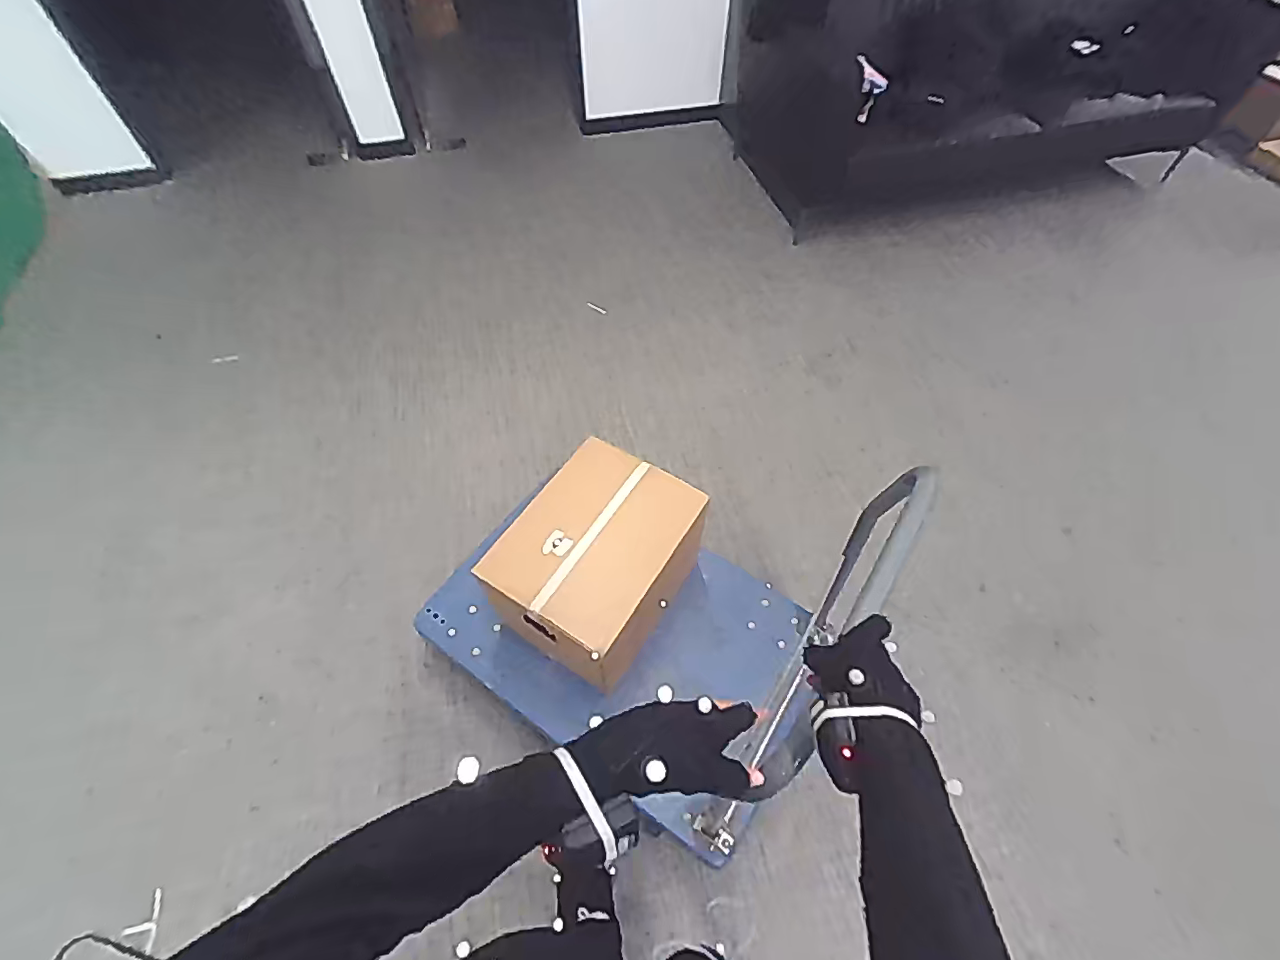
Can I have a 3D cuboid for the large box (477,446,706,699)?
[{"bbox_3d":[-0.089,0.206,1.221,0.320,0.320,0.408,27,60,18],"label":"large box"}]
